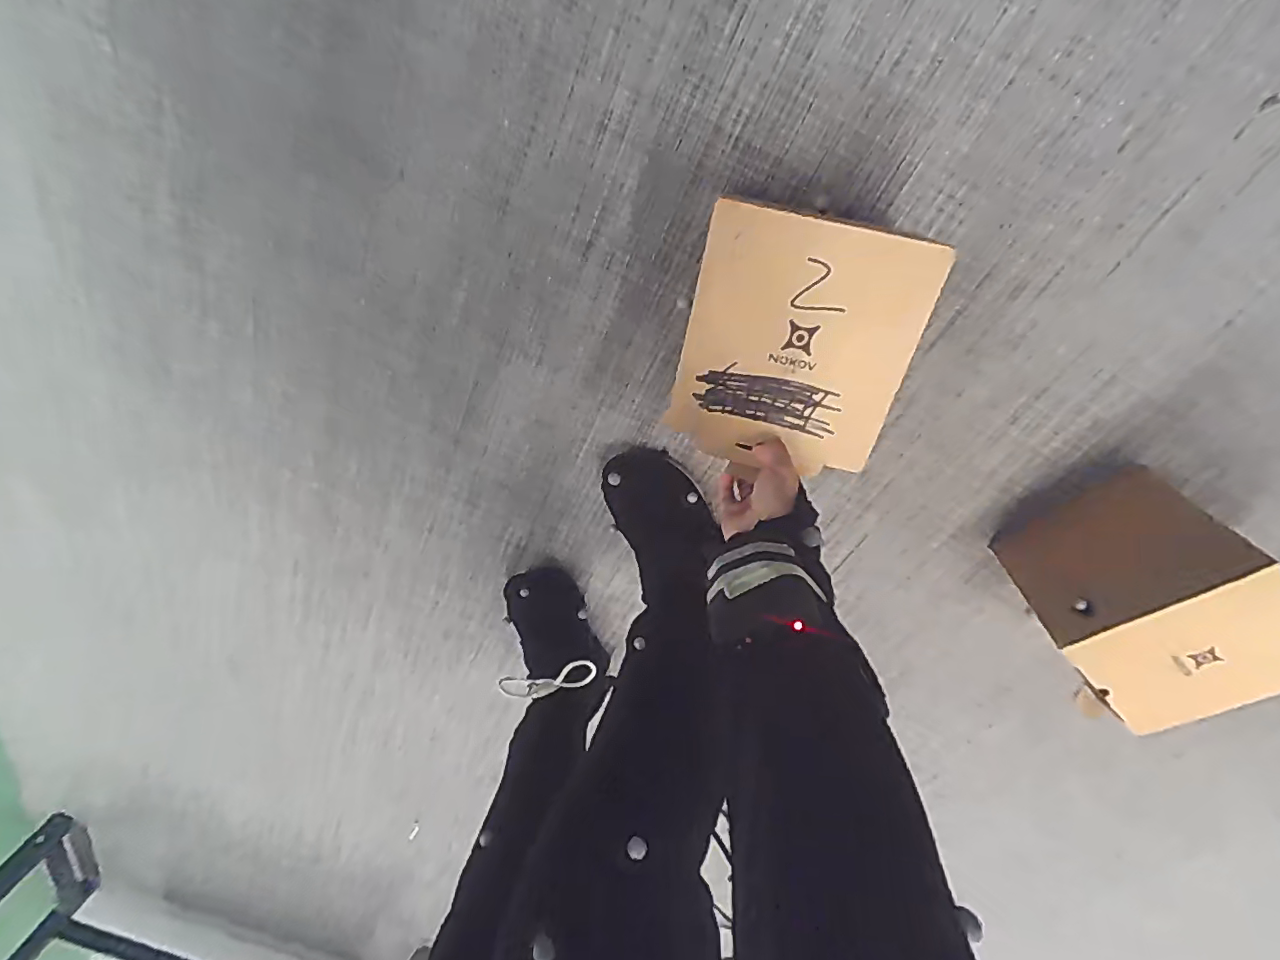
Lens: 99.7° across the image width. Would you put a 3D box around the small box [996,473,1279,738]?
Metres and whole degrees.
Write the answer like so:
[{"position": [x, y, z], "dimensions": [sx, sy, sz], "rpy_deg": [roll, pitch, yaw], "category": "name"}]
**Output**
[{"position": [0.524, 0.124, 0.562], "dimensions": [0.168, 0.176, 0.179], "rpy_deg": [42, 119, -16], "category": "small box"}]
